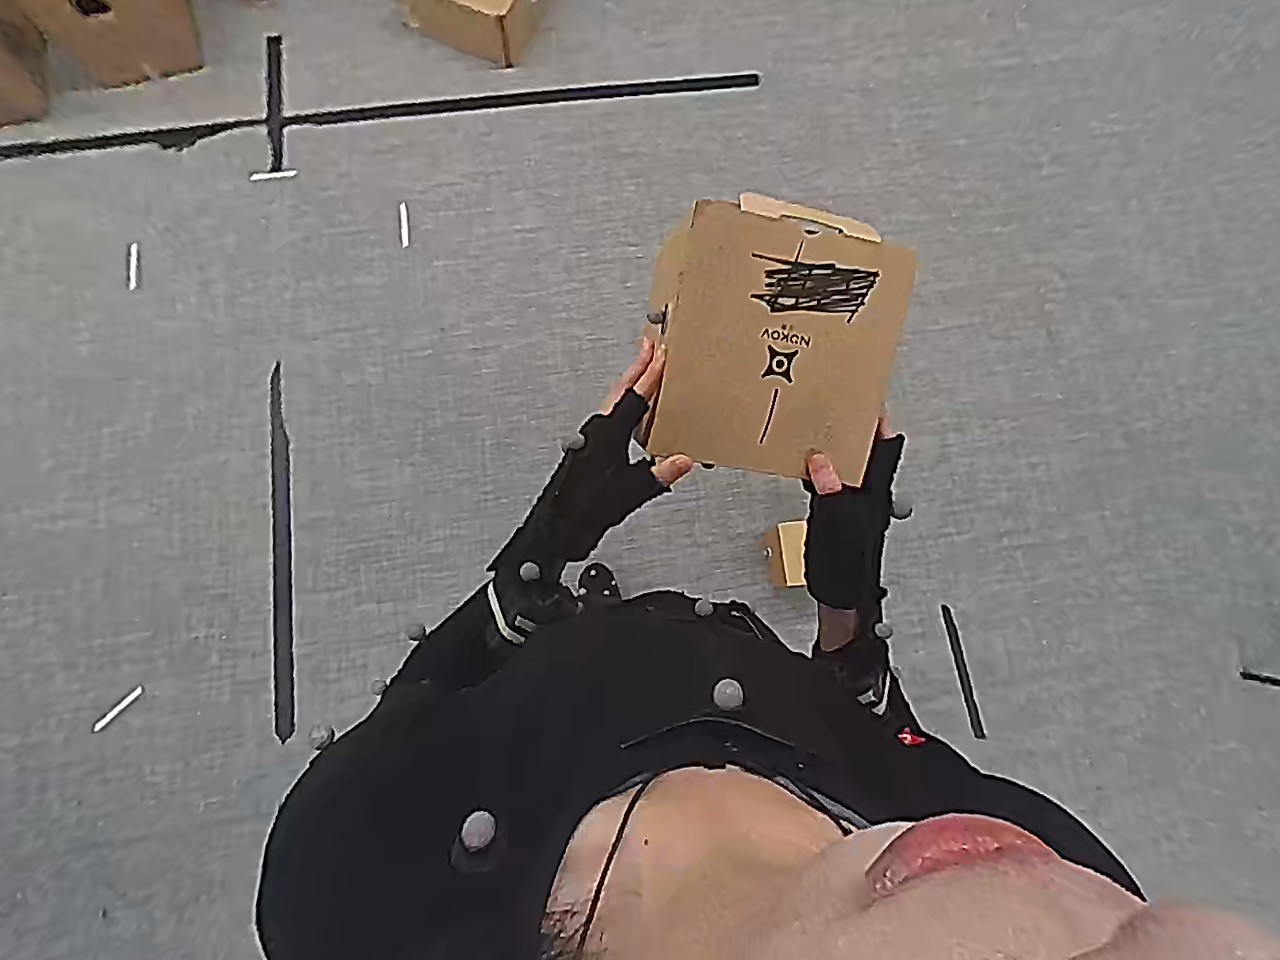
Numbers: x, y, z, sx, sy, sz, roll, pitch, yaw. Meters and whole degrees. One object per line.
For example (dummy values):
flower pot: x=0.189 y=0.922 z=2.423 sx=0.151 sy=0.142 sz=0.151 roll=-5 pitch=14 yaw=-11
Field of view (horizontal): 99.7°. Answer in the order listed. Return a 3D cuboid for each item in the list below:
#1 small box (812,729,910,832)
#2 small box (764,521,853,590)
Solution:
small box: x=0.554 y=0.754 z=1.372 sx=0.168 sy=0.176 sz=0.179 roll=-5 pitch=80 yaw=-3
small box: x=0.452 y=0.209 z=1.475 sx=0.179 sy=0.176 sz=0.168 roll=-5 pitch=78 yaw=-2
